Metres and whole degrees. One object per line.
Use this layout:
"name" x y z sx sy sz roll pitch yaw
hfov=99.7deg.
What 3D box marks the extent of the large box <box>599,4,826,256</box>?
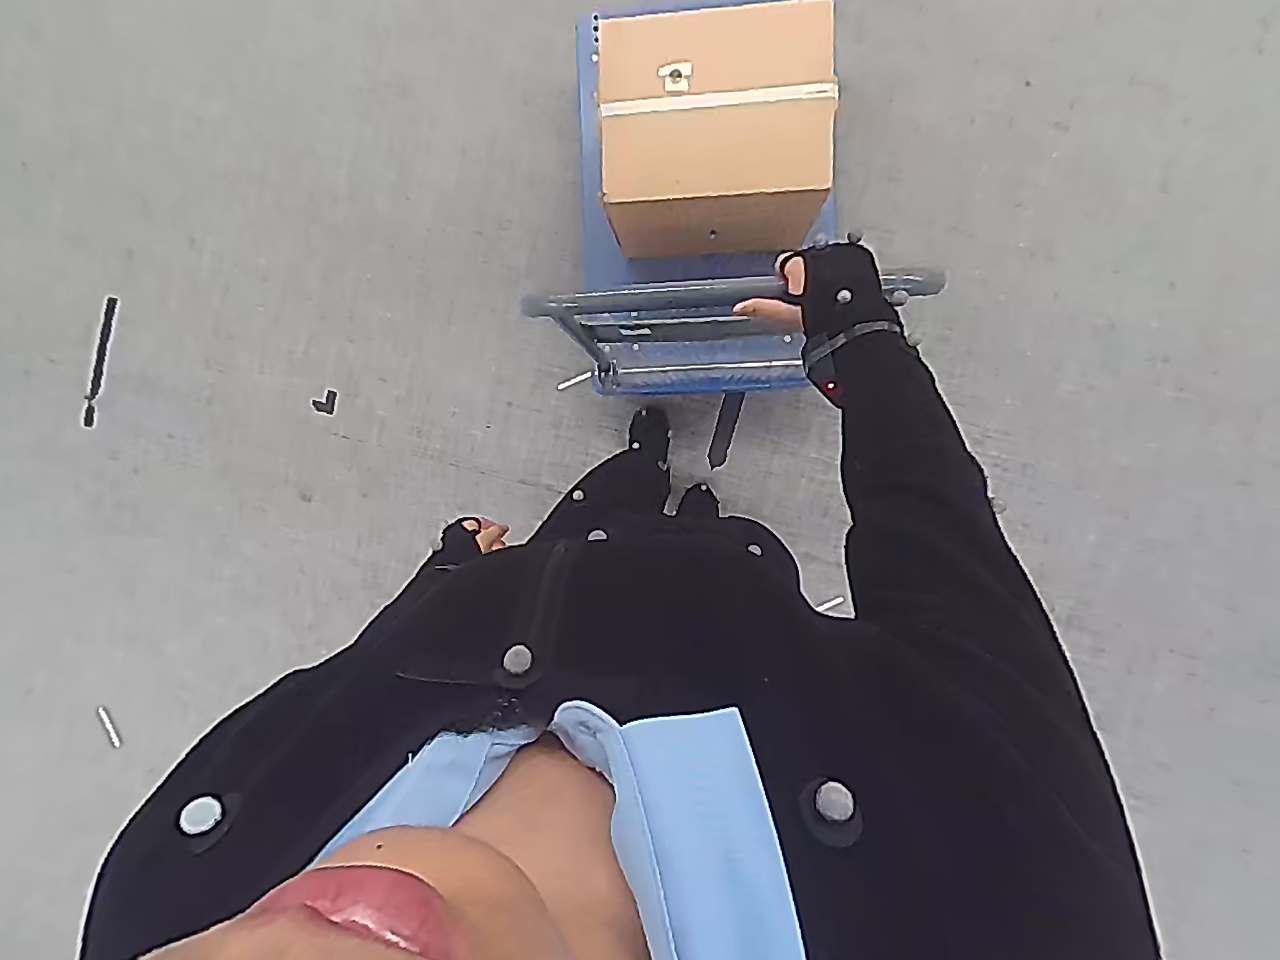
"large box" 0.146 -0.675 1.112 0.408 0.320 0.320 -1 93 7
